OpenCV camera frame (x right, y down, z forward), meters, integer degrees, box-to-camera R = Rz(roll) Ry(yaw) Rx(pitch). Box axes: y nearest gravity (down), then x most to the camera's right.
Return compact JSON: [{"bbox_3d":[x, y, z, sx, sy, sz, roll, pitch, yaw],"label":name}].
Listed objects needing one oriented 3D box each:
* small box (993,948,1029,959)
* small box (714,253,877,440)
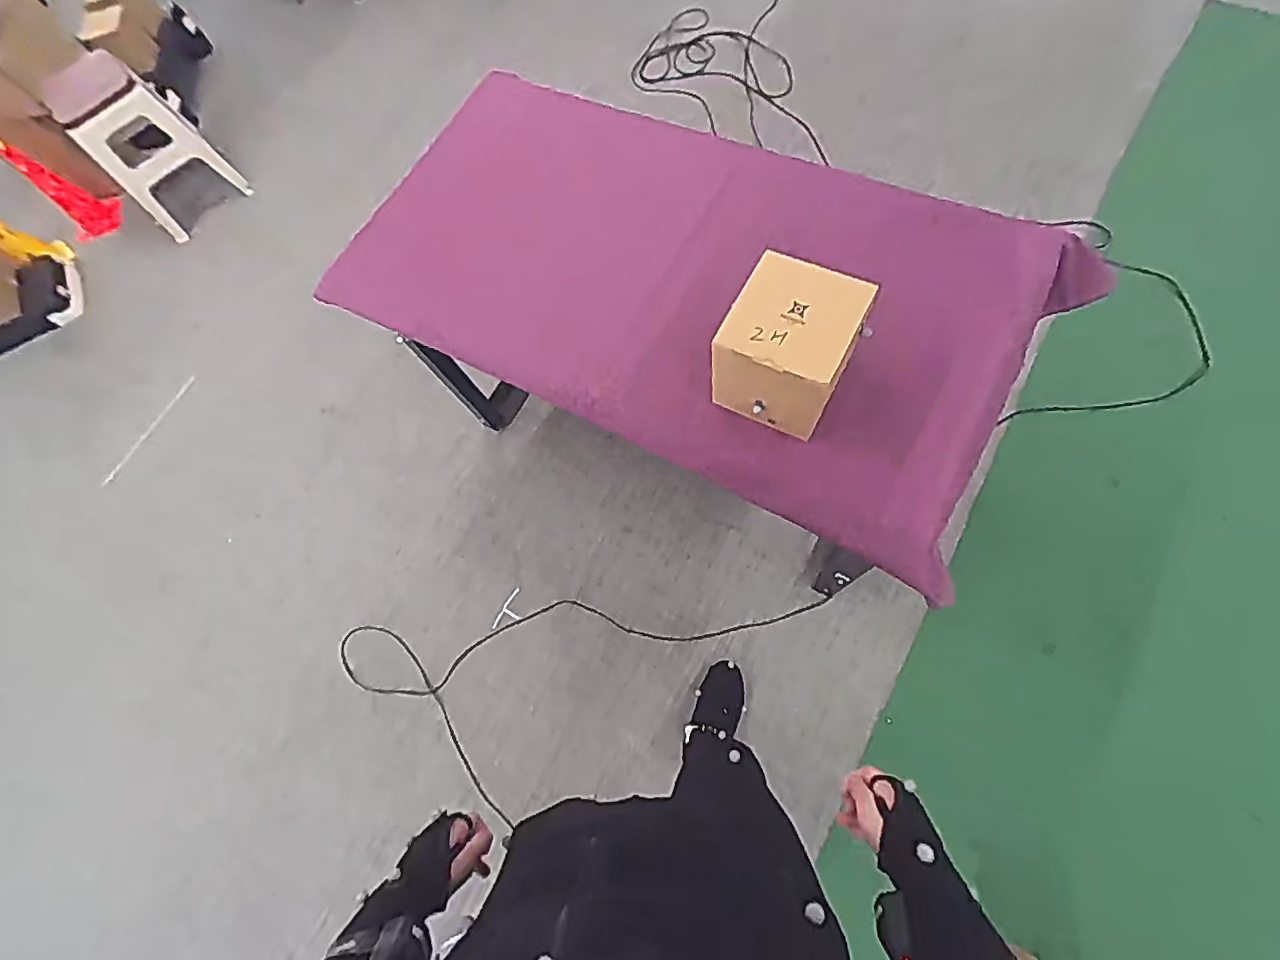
[{"bbox_3d":[0.794,1.072,1.054,0.179,0.176,0.168,26,76,15],"label":"small box"},{"bbox_3d":[0.219,-0.190,0.803,0.168,0.176,0.179,27,75,17],"label":"small box"}]
